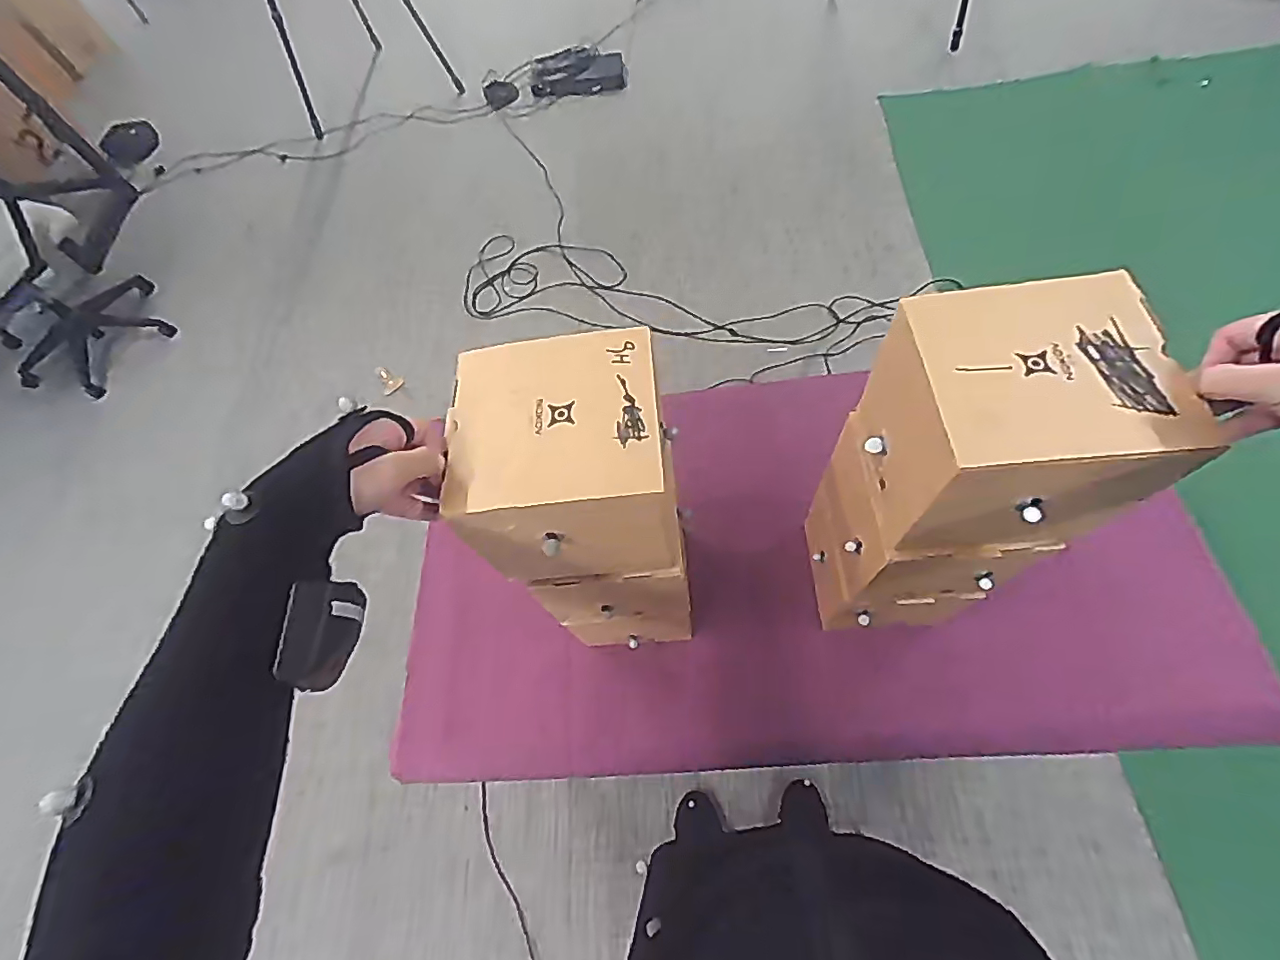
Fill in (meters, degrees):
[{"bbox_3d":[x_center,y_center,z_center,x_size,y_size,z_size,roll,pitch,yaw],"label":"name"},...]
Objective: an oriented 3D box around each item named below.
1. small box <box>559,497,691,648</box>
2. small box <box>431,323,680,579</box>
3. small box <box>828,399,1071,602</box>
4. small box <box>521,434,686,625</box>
[{"bbox_3d":[-0.015,0.138,0.787,0.168,0.176,0.179,-5,63,6],"label":"small box"},{"bbox_3d":[-0.062,-0.015,0.499,0.179,0.176,0.168,-6,61,6],"label":"small box"},{"bbox_3d":[0.323,0.034,0.610,0.168,0.176,0.179,-5,62,5],"label":"small box"},{"bbox_3d":[-0.034,0.063,0.644,0.168,0.176,0.179,-6,63,4],"label":"small box"}]
